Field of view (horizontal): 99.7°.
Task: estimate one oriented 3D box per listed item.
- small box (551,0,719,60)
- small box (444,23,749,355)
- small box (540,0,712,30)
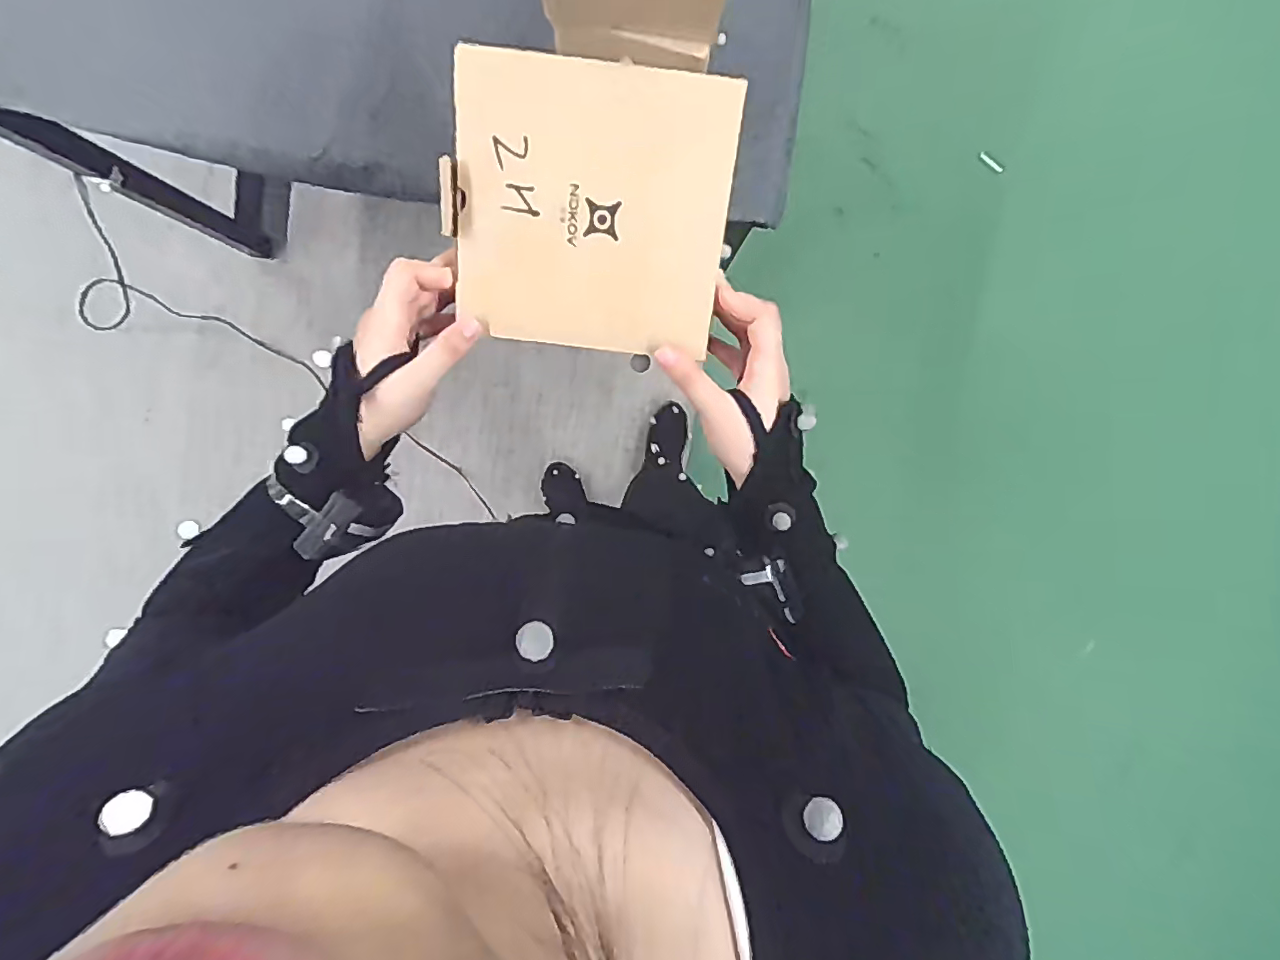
[{"bbox_3d":[0.001,-0.537,0.619,0.168,0.176,0.179,14,93,-2],"label":"small box"},{"bbox_3d":[-0.031,-0.198,0.405,0.179,0.176,0.168,7,111,0],"label":"small box"},{"bbox_3d":[-0.004,-0.532,0.456,0.179,0.176,0.168,6,91,-1],"label":"small box"}]
